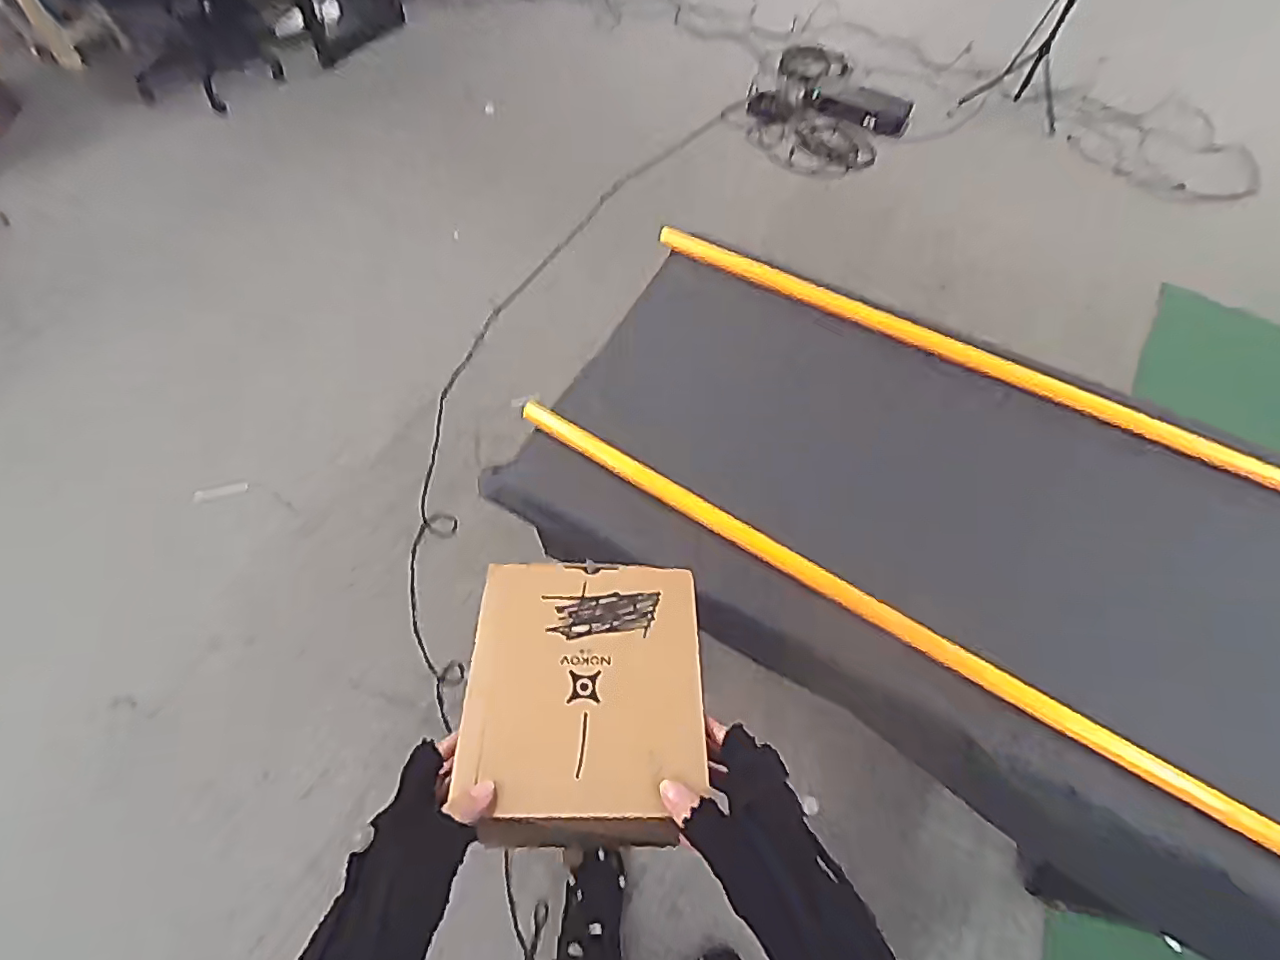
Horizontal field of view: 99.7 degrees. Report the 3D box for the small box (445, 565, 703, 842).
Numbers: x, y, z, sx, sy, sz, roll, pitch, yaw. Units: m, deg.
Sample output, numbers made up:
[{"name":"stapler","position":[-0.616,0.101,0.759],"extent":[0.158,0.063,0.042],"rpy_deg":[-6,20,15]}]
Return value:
[{"name":"small box","position":[-0.048,0.189,0.452],"extent":[0.168,0.176,0.179],"rpy_deg":[1,52,-4]}]
